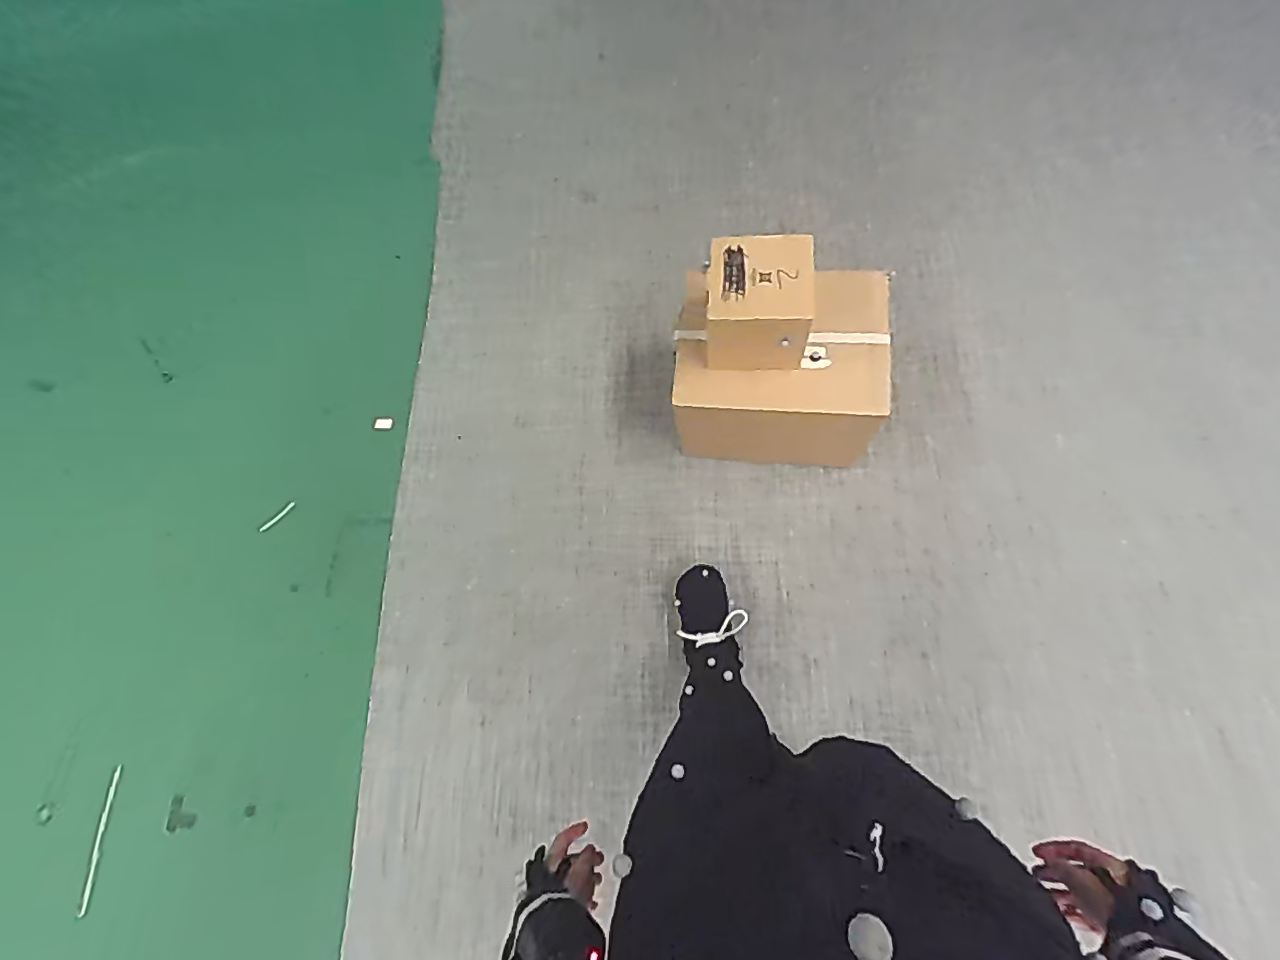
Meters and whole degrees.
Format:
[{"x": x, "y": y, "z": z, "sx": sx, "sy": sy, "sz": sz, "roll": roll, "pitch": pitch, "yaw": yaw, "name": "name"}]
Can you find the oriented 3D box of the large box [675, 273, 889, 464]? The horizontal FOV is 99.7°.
[{"x": 0.294, "y": -0.233, "z": 1.201, "sx": 0.408, "sy": 0.320, "sz": 0.320, "roll": 4, "pitch": 75, "yaw": 9, "name": "large box"}]
